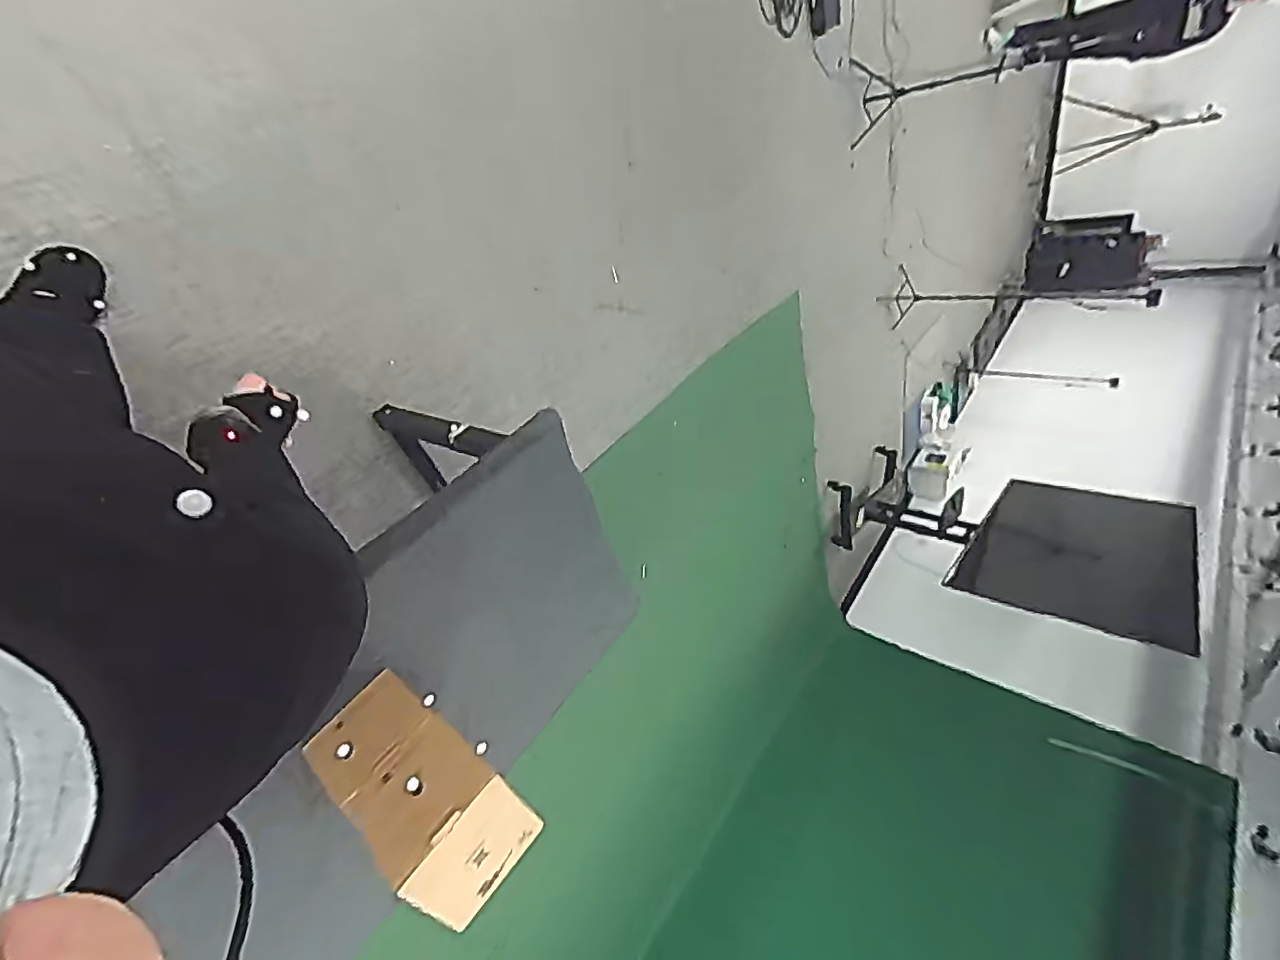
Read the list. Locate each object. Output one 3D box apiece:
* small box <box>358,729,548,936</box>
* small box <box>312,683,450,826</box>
[{"bbox_3d":[-0.274,0.502,0.795,0.168,0.176,0.179,-44,130,-30],"label":"small box"},{"bbox_3d":[-0.398,0.466,0.896,0.168,0.176,0.179,-46,133,-29],"label":"small box"}]
